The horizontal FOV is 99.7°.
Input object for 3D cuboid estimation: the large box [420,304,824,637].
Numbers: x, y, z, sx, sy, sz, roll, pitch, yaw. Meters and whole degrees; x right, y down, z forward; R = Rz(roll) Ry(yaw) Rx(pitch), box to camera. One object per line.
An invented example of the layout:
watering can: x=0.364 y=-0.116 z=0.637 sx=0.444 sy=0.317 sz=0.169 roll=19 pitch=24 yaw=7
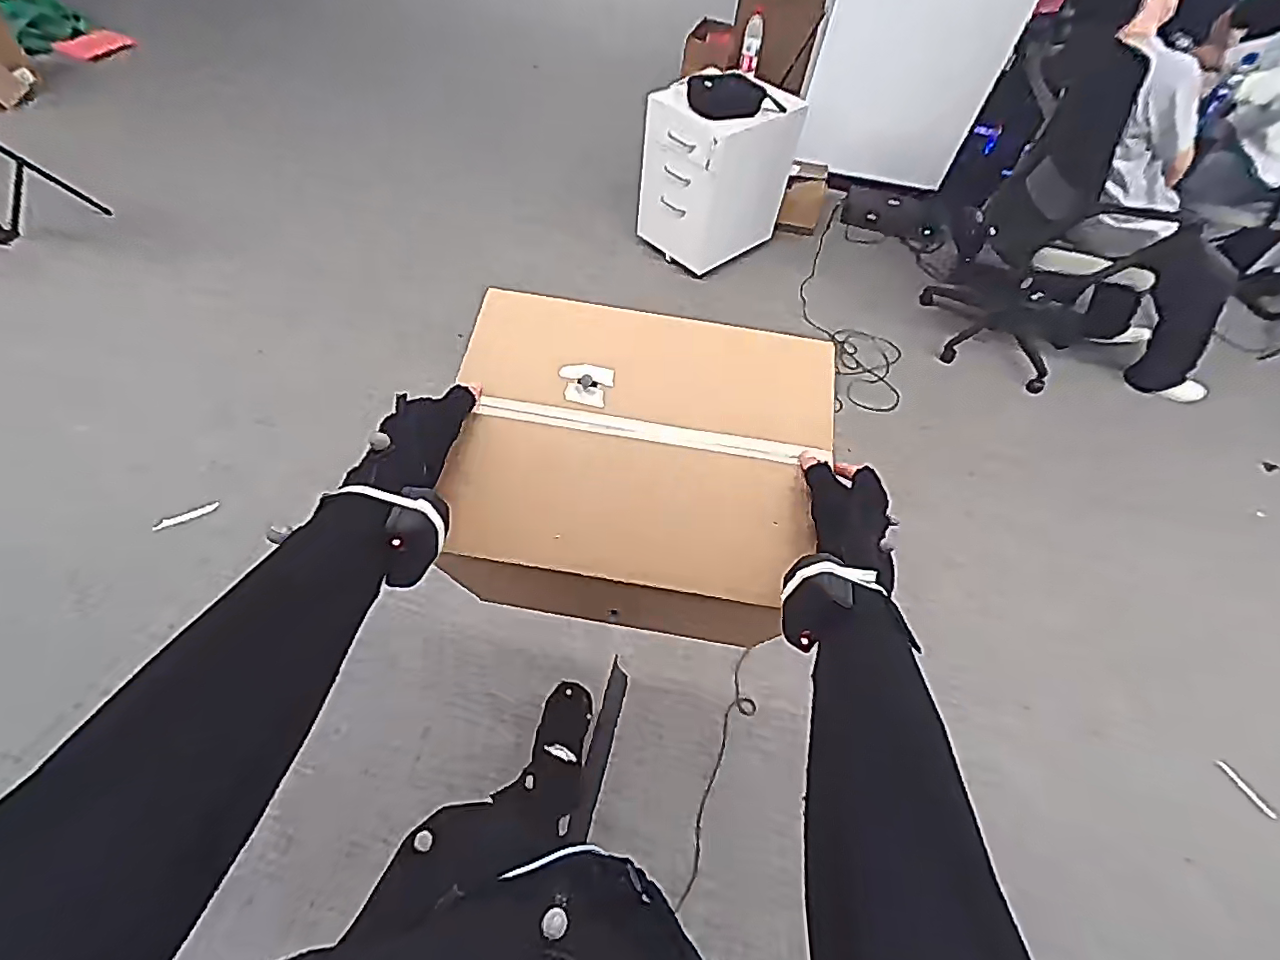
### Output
large box: x=-0.004 y=0.013 z=0.721 sx=0.408 sy=0.320 sz=0.320 roll=9 pitch=67 yaw=2
